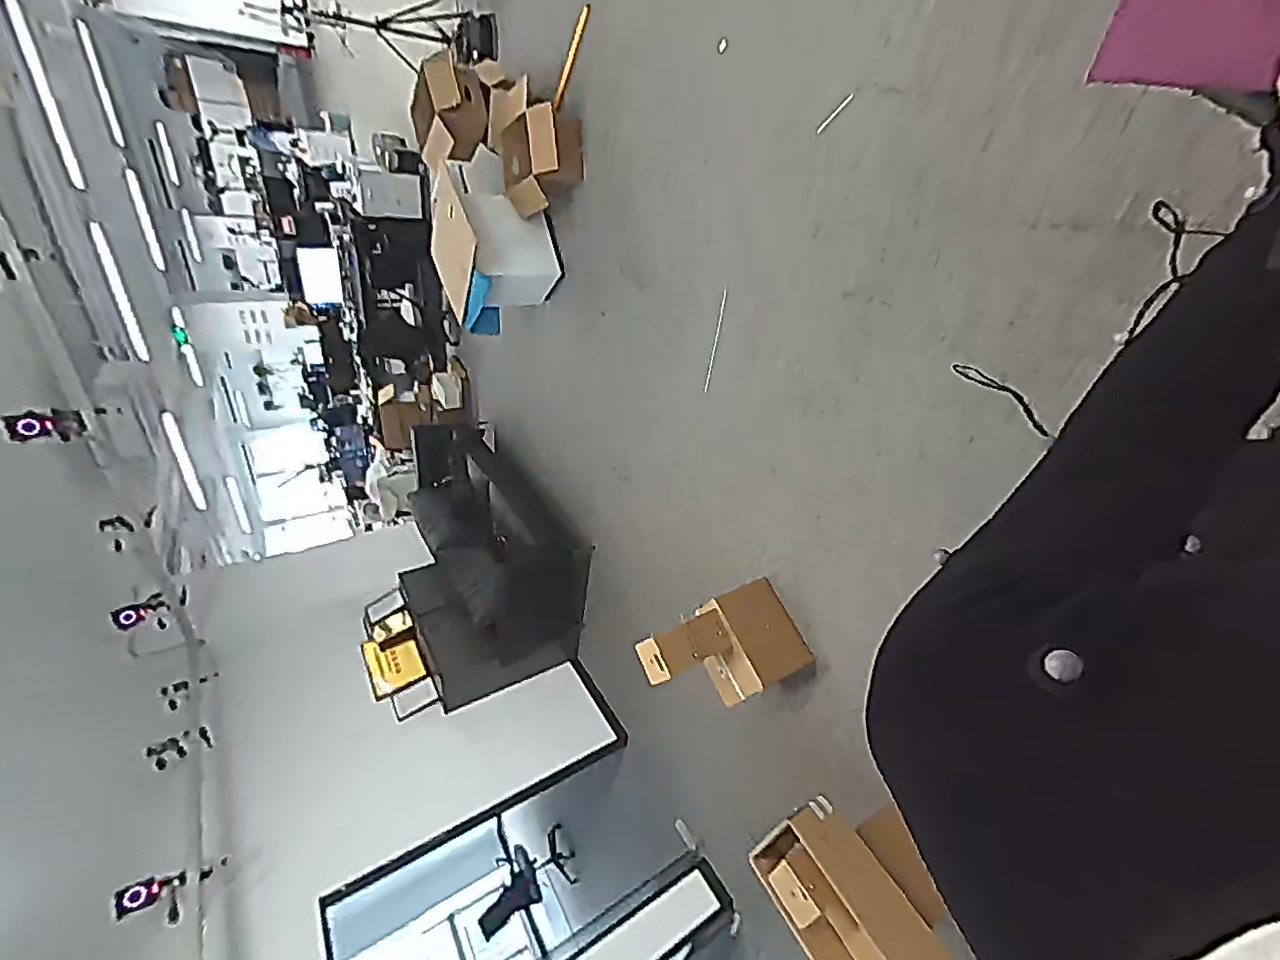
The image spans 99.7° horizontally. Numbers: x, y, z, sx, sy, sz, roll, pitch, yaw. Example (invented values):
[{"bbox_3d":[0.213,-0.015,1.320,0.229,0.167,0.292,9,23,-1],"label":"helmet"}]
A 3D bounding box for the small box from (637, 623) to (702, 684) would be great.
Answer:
[{"bbox_3d":[0.123,0.686,2.149,0.168,0.176,0.179,64,146,17],"label":"small box"}]

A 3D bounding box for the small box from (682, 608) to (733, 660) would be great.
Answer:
[{"bbox_3d":[0.253,0.652,2.243,0.168,0.176,0.179,64,145,17],"label":"small box"}]

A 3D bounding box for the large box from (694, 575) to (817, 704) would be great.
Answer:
[{"bbox_3d":[0.480,0.693,2.369,0.408,0.320,0.320,60,146,22],"label":"large box"}]
